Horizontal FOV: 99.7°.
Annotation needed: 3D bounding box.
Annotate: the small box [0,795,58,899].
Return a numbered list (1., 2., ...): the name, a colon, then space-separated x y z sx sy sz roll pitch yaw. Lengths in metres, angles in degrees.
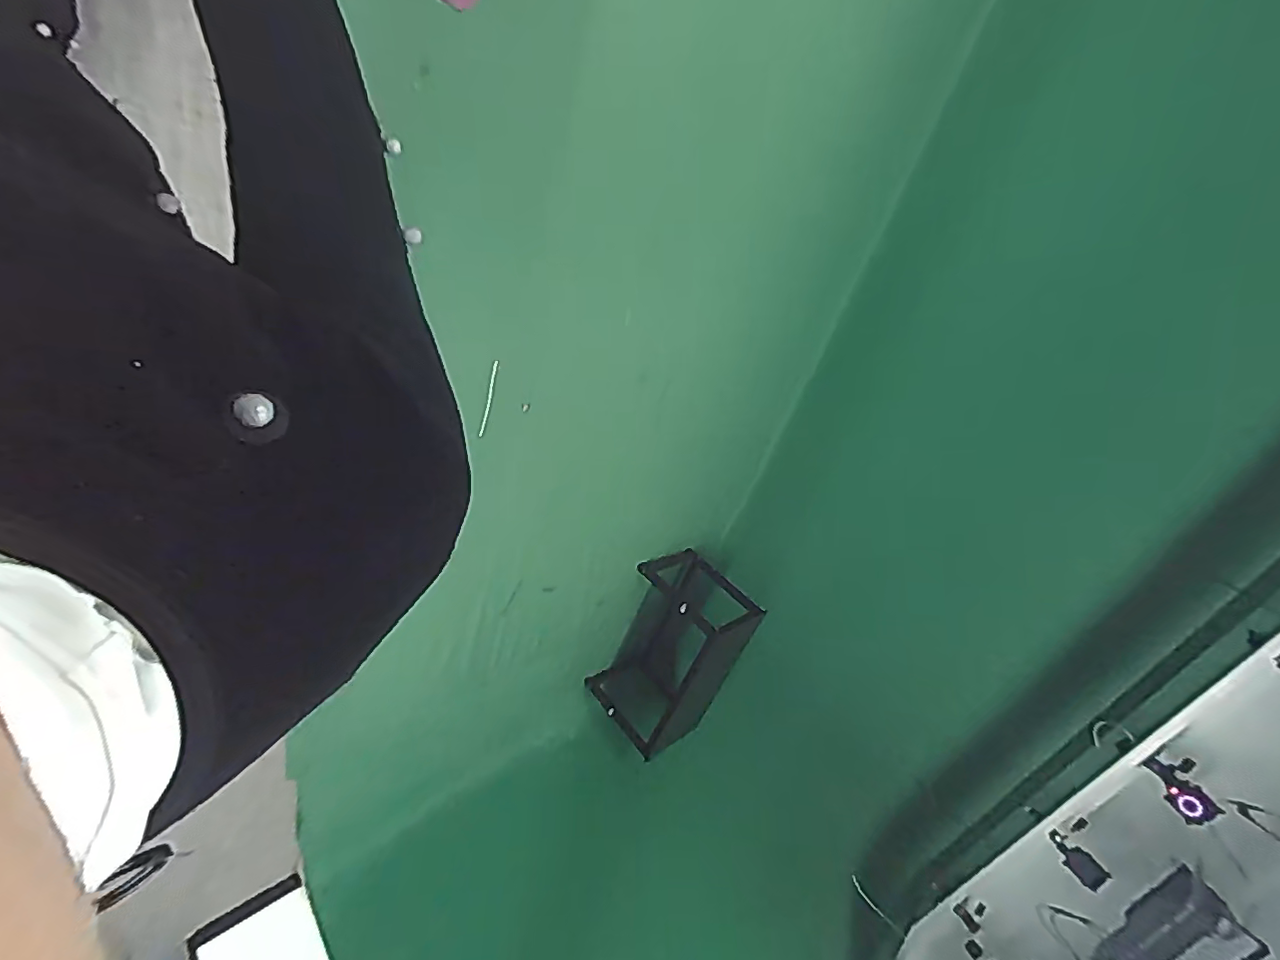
1. small box: -1.749 1.022 1.493 0.179 0.176 0.168 -10 130 -47
